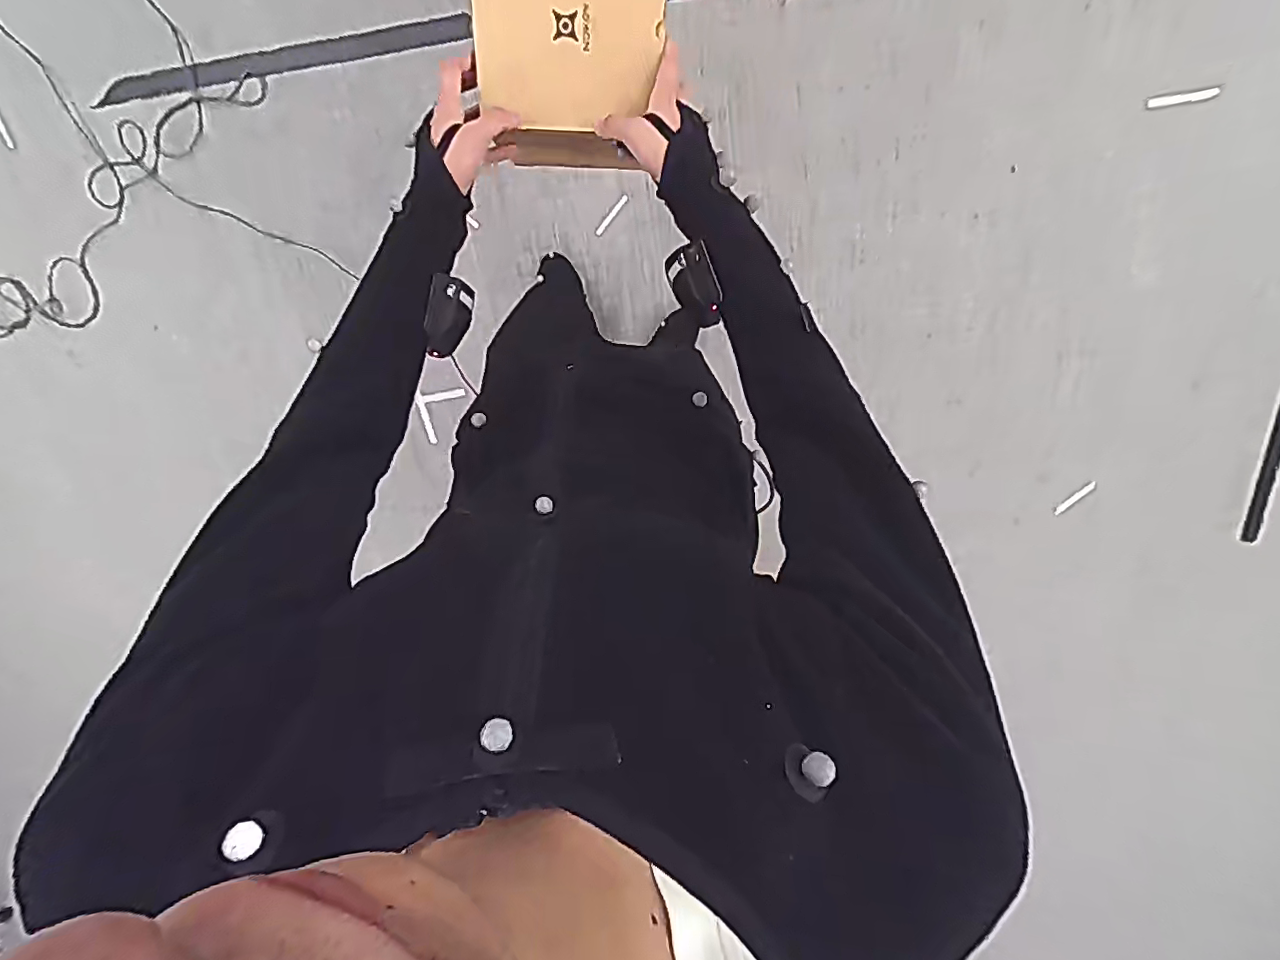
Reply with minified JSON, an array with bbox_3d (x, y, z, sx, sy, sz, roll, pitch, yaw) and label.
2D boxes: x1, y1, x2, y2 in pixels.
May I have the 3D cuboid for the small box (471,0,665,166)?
[{"bbox_3d":[-0.070,-0.436,0.562,0.179,0.176,0.168,-1,110,-5],"label":"small box"}]
